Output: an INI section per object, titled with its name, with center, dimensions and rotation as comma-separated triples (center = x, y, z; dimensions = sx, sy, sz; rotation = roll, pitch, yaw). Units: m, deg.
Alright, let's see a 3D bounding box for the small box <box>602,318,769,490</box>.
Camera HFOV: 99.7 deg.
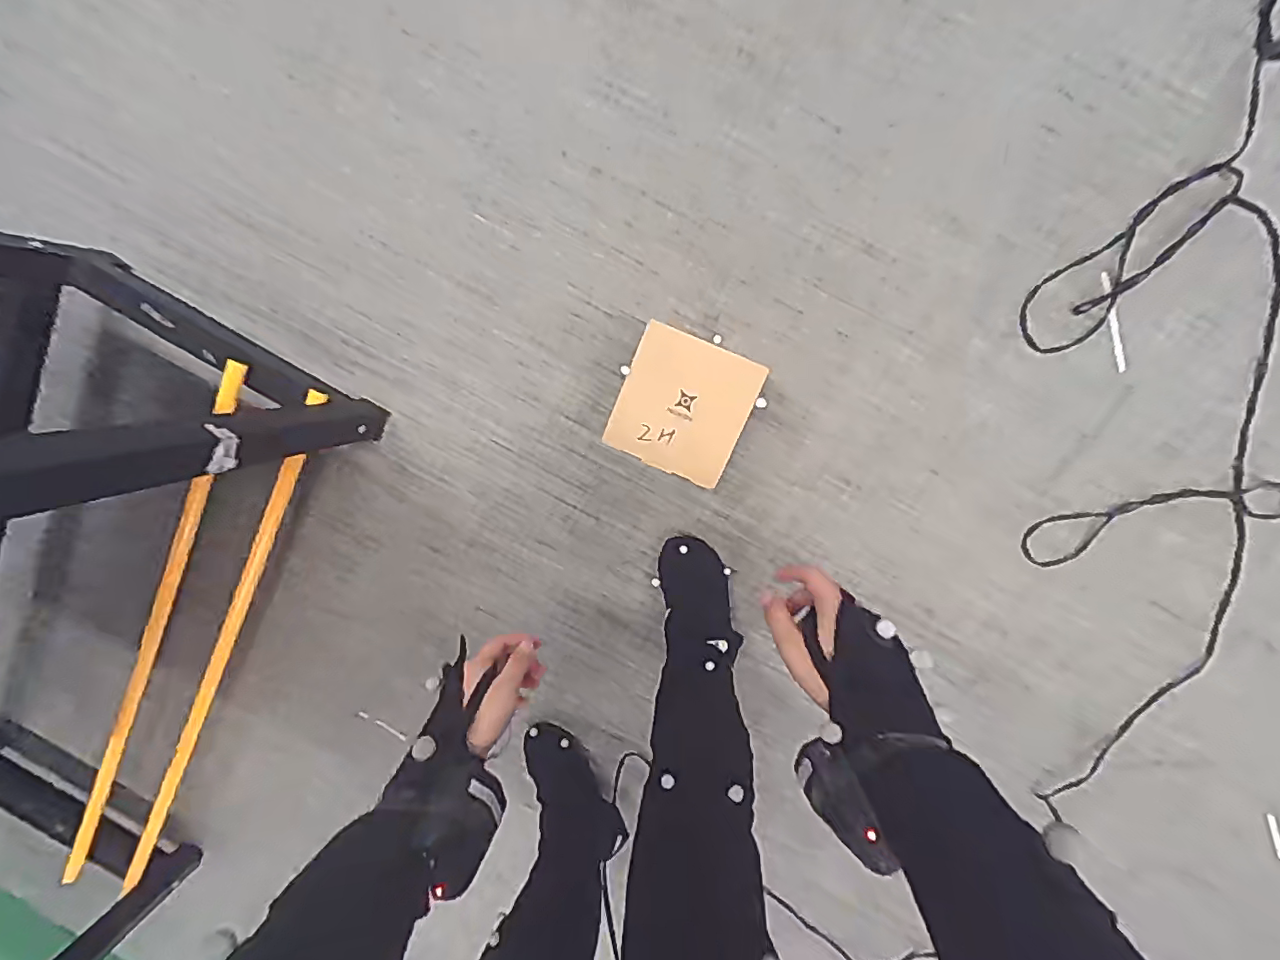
[small box]
center = 0.064, -0.112, 0.774
dimensions = 0.168, 0.176, 0.179
rotation = 24, 104, 3
